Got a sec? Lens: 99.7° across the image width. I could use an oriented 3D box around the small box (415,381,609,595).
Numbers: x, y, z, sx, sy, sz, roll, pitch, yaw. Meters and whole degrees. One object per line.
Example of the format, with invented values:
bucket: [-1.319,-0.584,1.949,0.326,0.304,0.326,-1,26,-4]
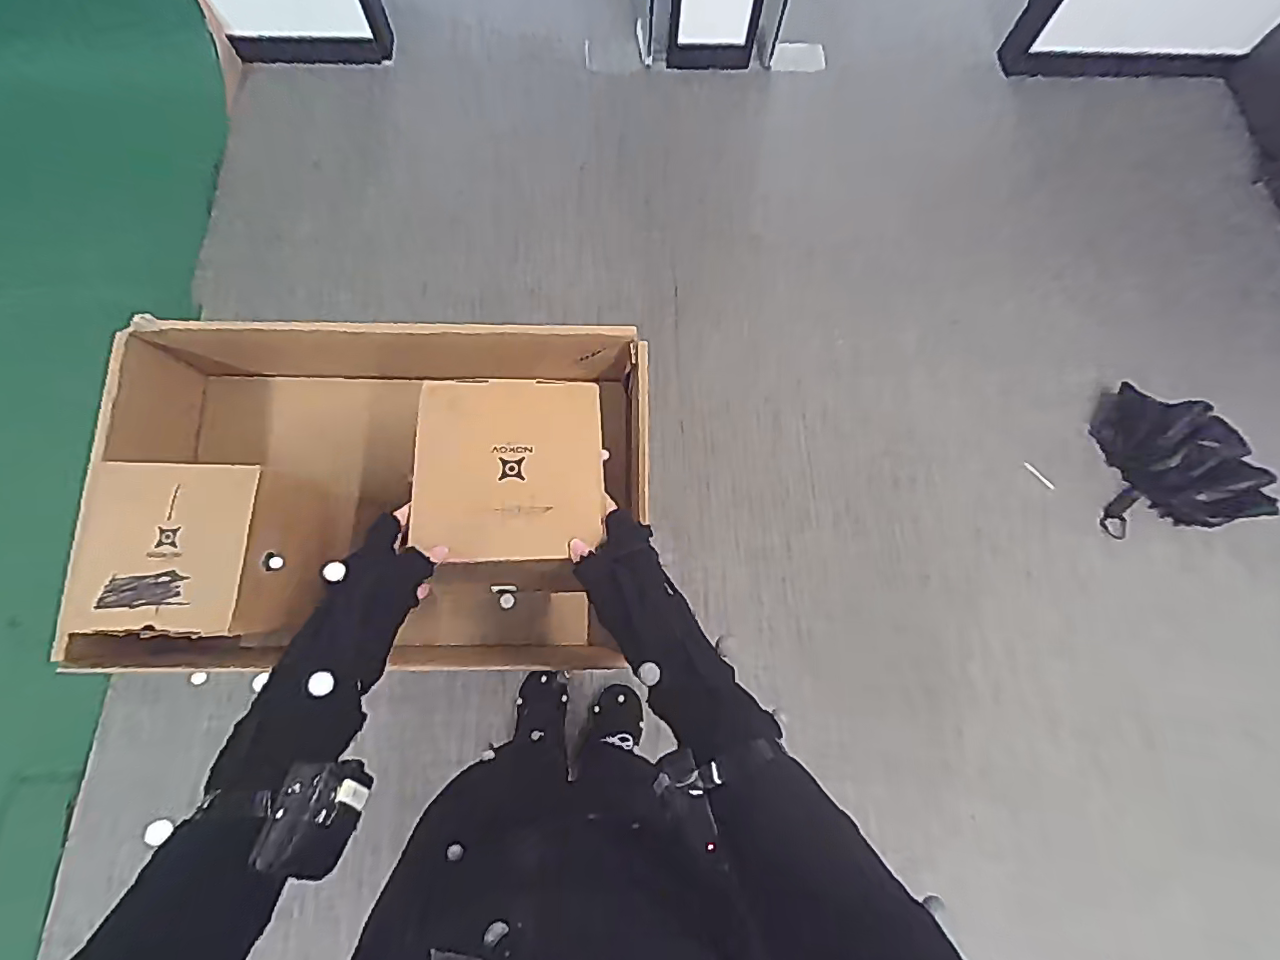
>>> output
small box: [-0.125,0.015,0.564,0.168,0.176,0.179,-2,70,-9]
